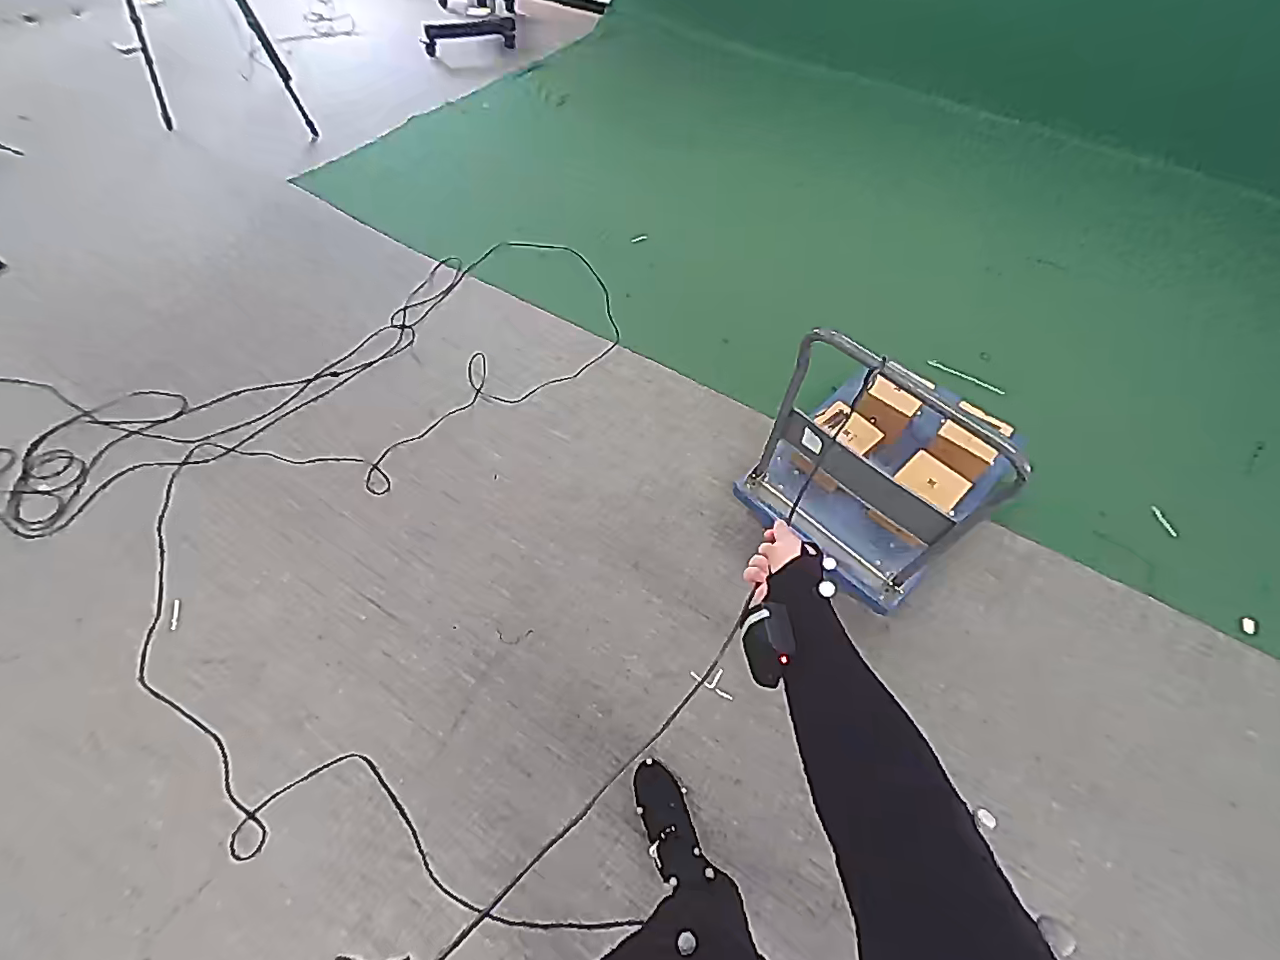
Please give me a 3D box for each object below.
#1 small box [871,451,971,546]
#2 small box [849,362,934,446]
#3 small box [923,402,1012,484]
[{"bbox_3d":[0.807,0.056,1.572,0.179,0.176,0.168,-38,66,-23],"label":"small box"},{"bbox_3d":[0.812,-0.243,1.766,0.168,0.176,0.179,38,63,20],"label":"small box"},{"bbox_3d":[1.000,-0.101,1.678,0.168,0.176,0.179,37,64,21],"label":"small box"}]
